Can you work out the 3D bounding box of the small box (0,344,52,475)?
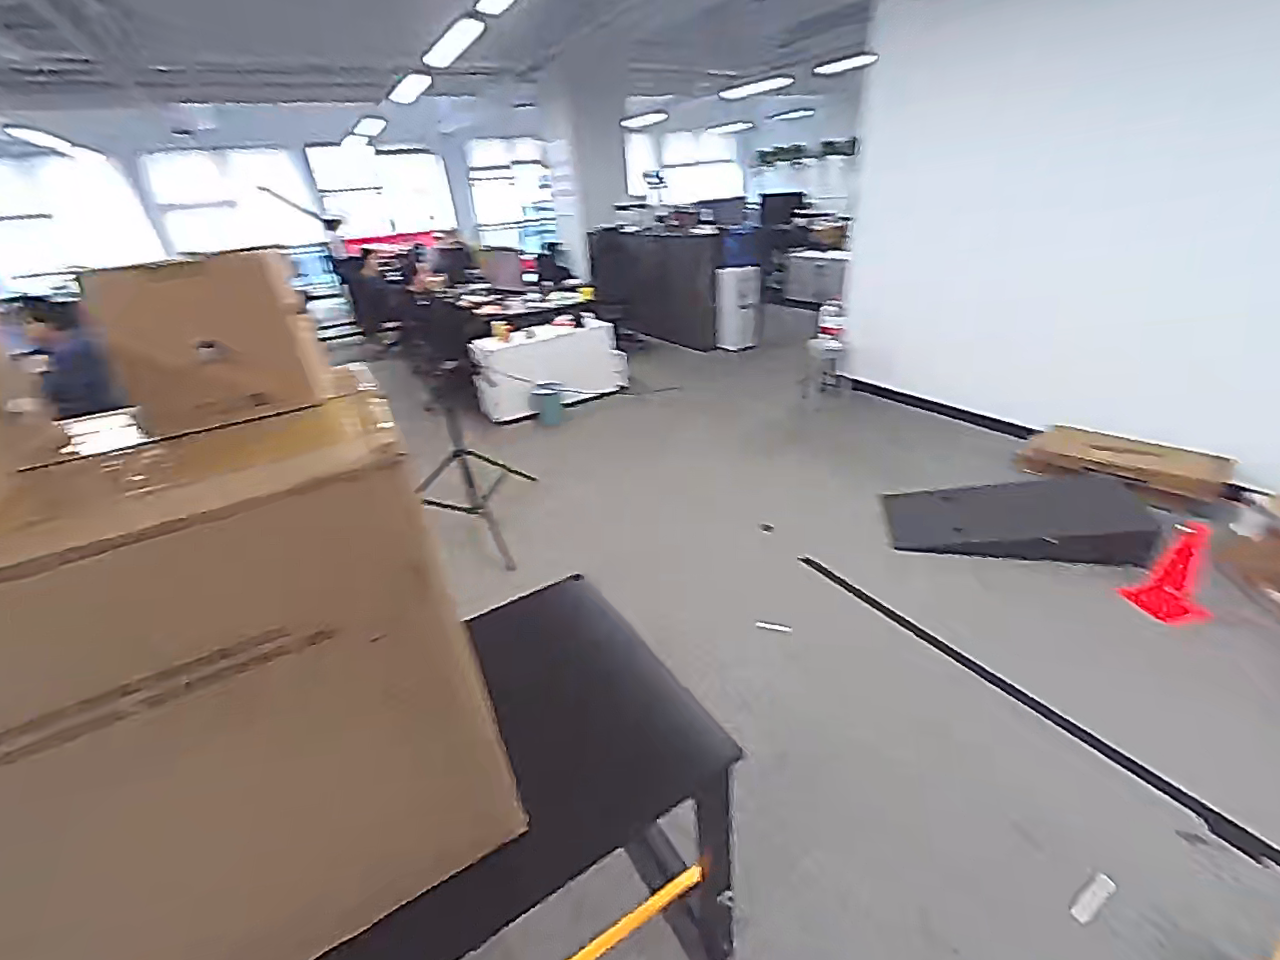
[{"bbox_3d":[-0.718,-0.071,0.492,0.179,0.176,0.168,-19,30,-26],"label":"small box"}]
